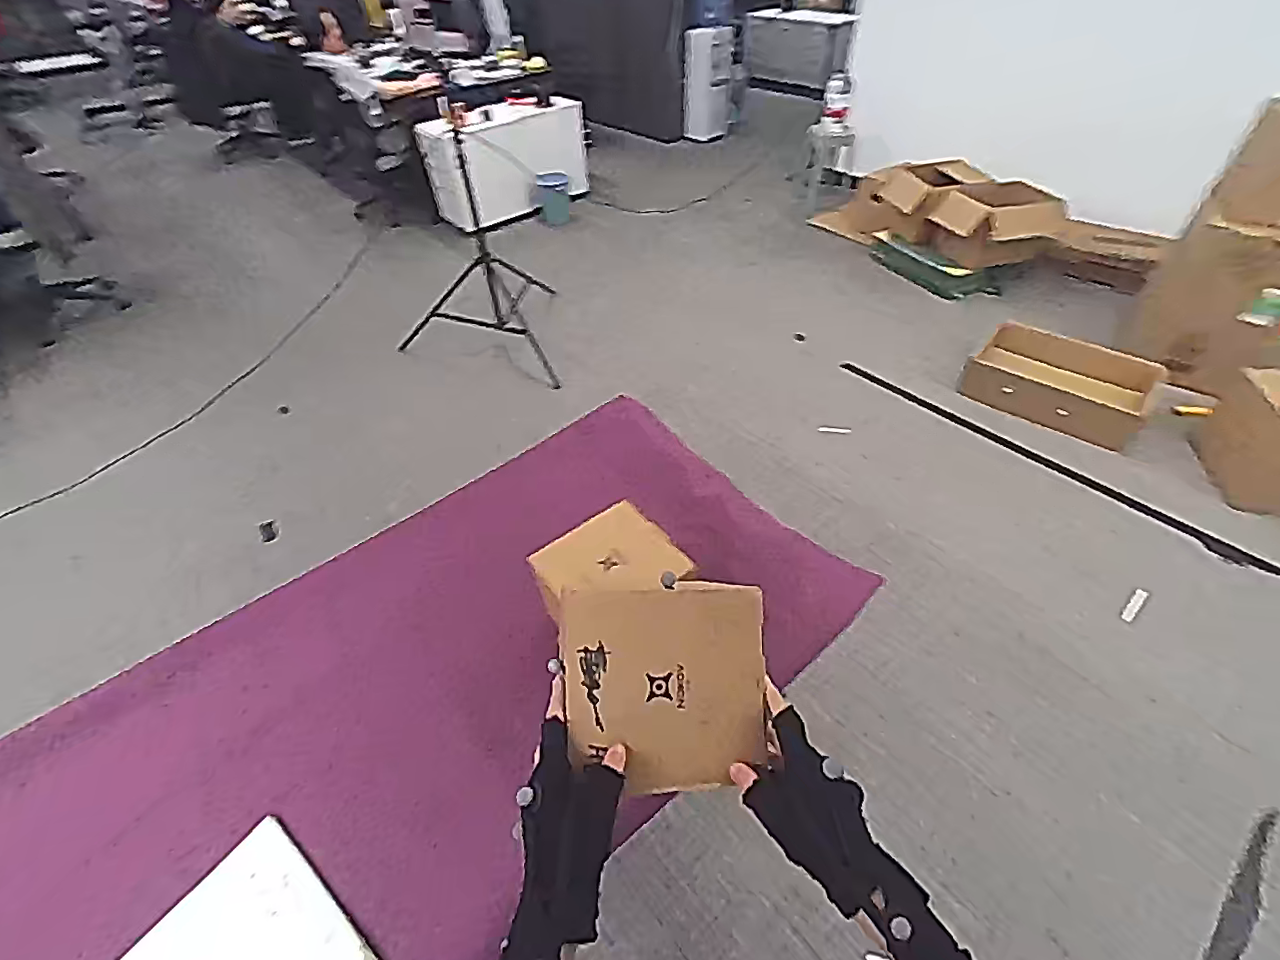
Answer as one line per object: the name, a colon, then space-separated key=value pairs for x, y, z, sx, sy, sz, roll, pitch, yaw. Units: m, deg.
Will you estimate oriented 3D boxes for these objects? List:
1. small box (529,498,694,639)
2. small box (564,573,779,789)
small box: x=-0.038 y=0.166 z=0.809 sx=0.179 sy=0.176 sz=0.168 roll=-32 pitch=51 yaw=-23
small box: x=0.020 y=0.178 z=0.530 sx=0.179 sy=0.176 sz=0.168 roll=2 pitch=81 yaw=-10
